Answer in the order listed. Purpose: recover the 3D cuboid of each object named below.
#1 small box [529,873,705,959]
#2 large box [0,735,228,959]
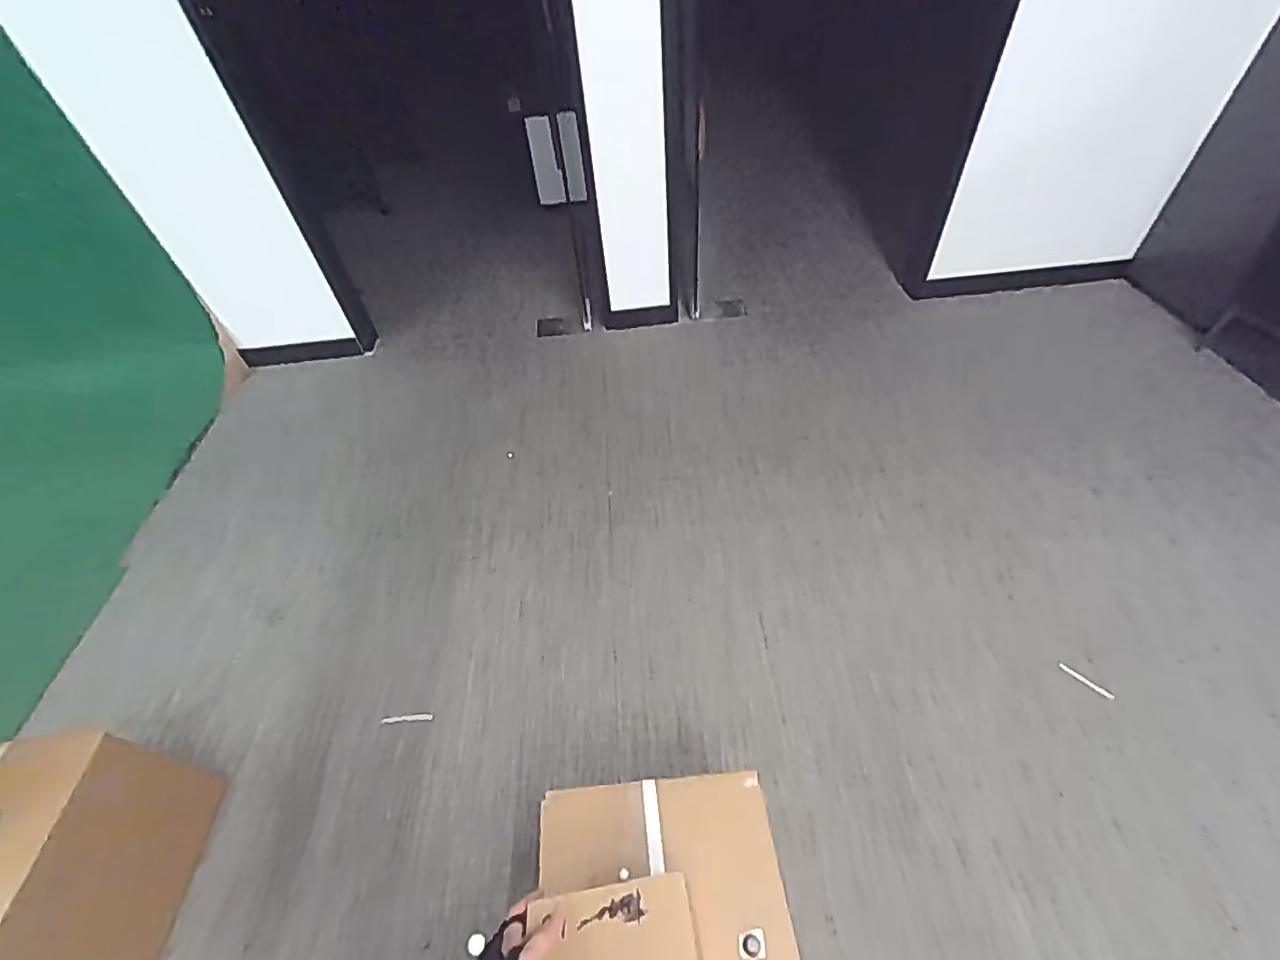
[{"bbox_3d":[-0.012,0.534,0.558,0.168,0.176,0.179,-11,48,-1],"label":"small box"},{"bbox_3d":[-0.973,0.681,0.855,0.320,0.320,0.408,-7,46,0],"label":"large box"}]
